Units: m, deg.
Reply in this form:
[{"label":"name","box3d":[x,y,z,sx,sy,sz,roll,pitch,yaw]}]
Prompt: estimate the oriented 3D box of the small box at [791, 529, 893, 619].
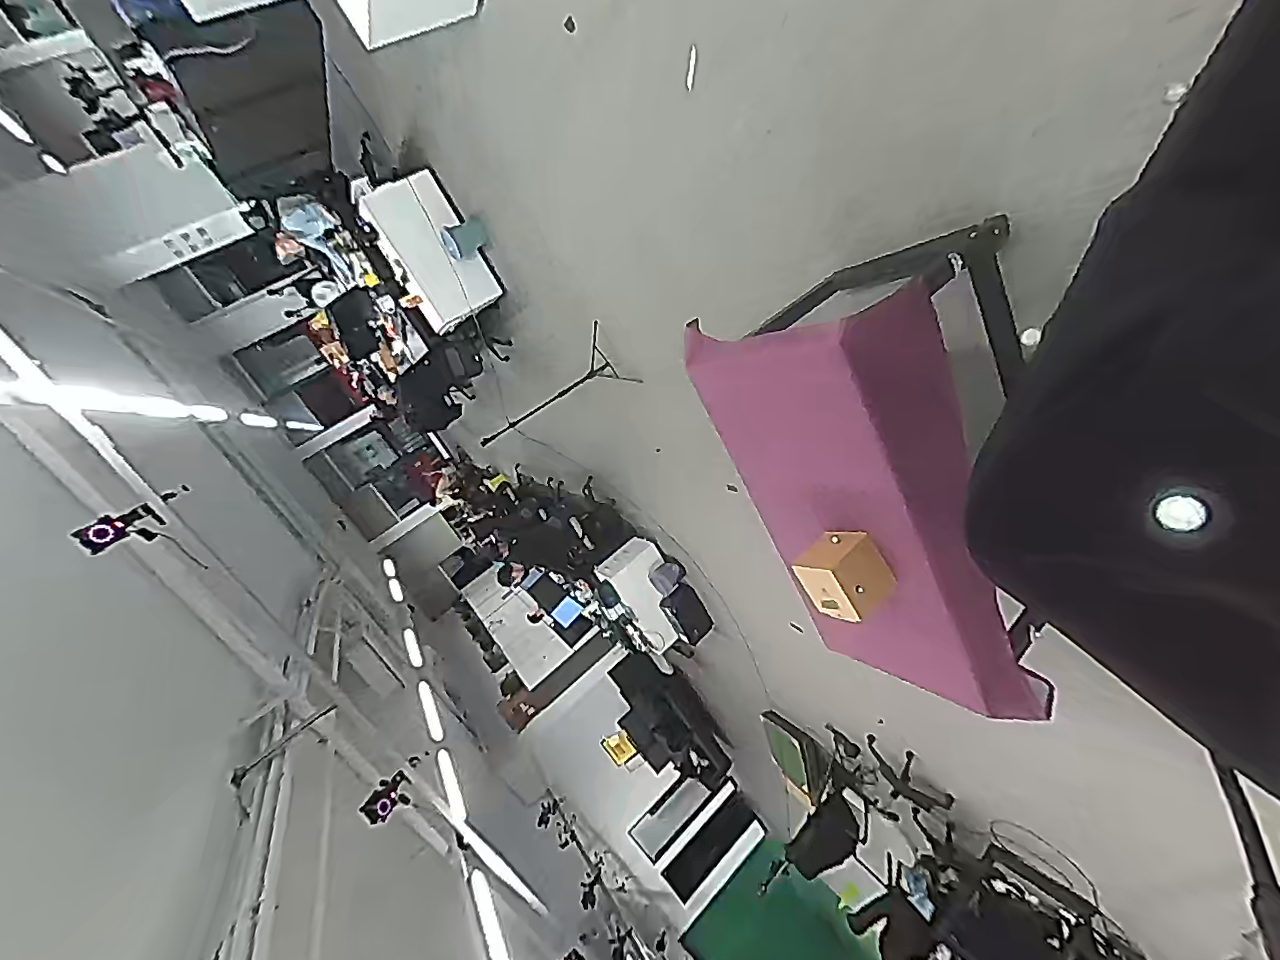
[{"label":"small box","box3d":[0.571,0.259,1.522,0.179,0.176,0.168,56,159,-9]}]
